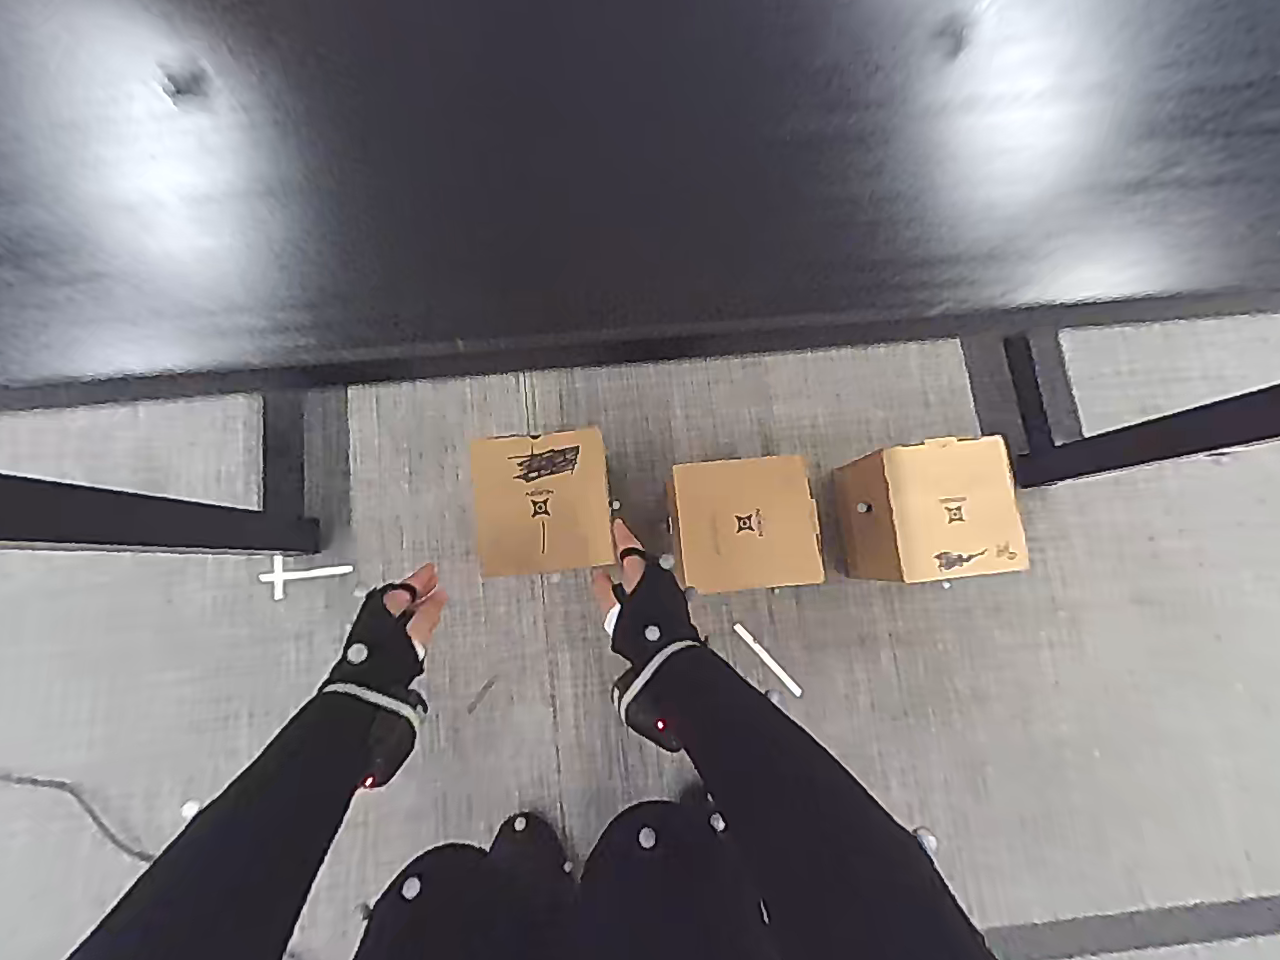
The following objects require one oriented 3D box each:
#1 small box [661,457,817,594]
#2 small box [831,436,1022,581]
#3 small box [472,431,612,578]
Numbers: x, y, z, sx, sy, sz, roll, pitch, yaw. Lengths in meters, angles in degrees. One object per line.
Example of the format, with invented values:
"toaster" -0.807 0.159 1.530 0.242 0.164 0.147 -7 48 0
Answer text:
"small box" 0.128 0.068 0.762 0.179 0.176 0.168 -5 80 -1
"small box" 0.390 0.048 0.771 0.168 0.176 0.179 -7 80 -2
"small box" -0.128 0.041 0.758 0.168 0.176 0.179 -6 82 -2
